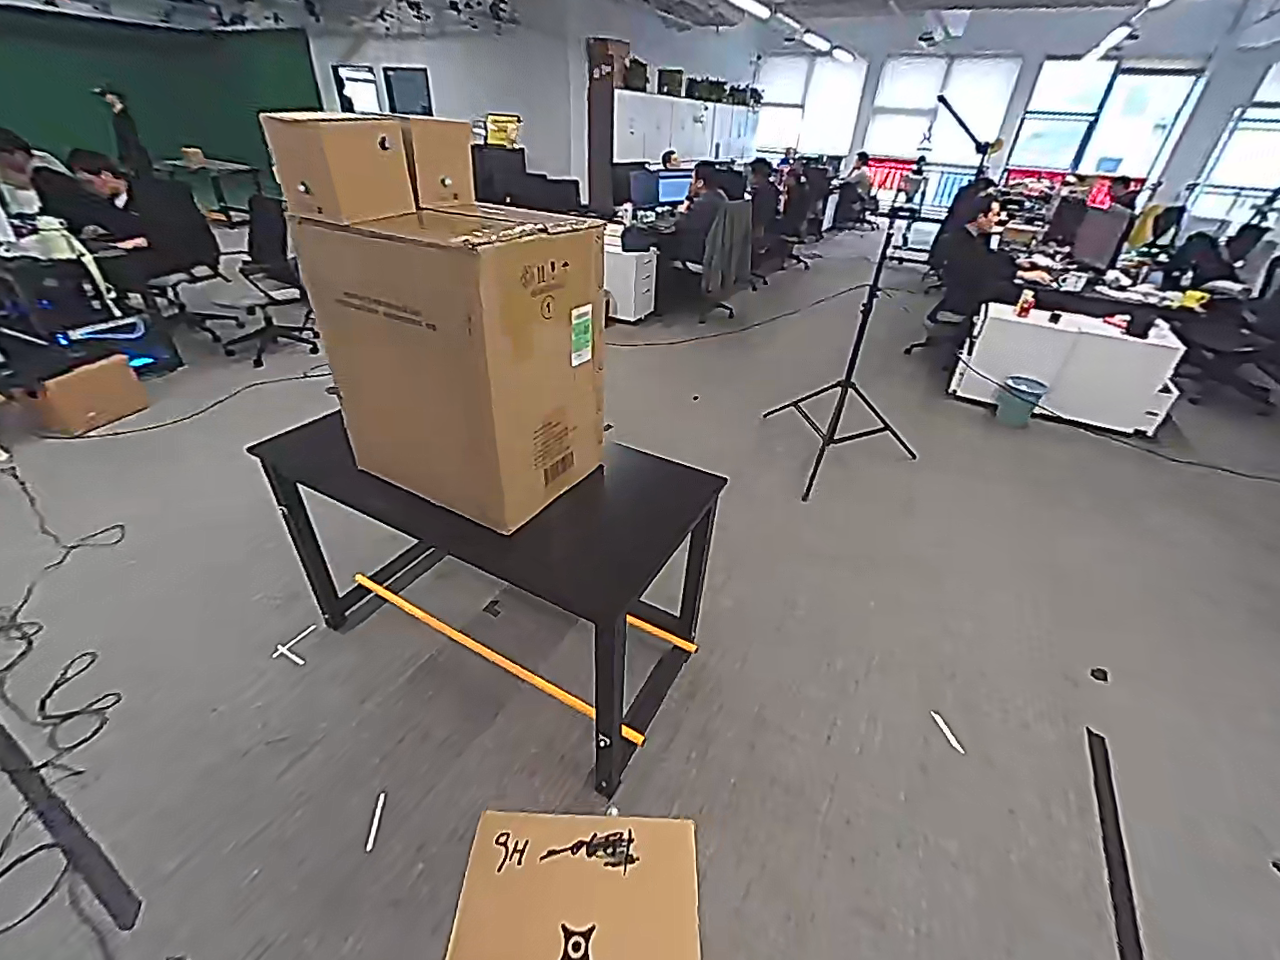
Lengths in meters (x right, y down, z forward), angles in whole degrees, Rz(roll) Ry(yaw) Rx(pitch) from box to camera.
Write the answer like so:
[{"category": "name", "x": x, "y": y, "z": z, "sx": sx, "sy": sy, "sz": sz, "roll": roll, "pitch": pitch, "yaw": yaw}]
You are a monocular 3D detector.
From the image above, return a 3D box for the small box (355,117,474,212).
[{"category": "small box", "x": -0.497, "y": -0.702, "z": 1.211, "sx": 0.179, "sy": 0.176, "sz": 0.168, "roll": 21, "pitch": 36, "yaw": 23}]

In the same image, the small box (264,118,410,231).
[{"category": "small box", "x": -0.576, "y": -0.602, "z": 1.059, "sx": 0.168, "sy": 0.176, "sz": 0.179, "roll": 19, "pitch": 40, "yaw": 23}]

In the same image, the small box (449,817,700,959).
[{"category": "small box", "x": -0.042, "y": 0.374, "z": 0.393, "sx": 0.168, "sy": 0.176, "sz": 0.179, "roll": 1, "pitch": 38, "yaw": 0}]
